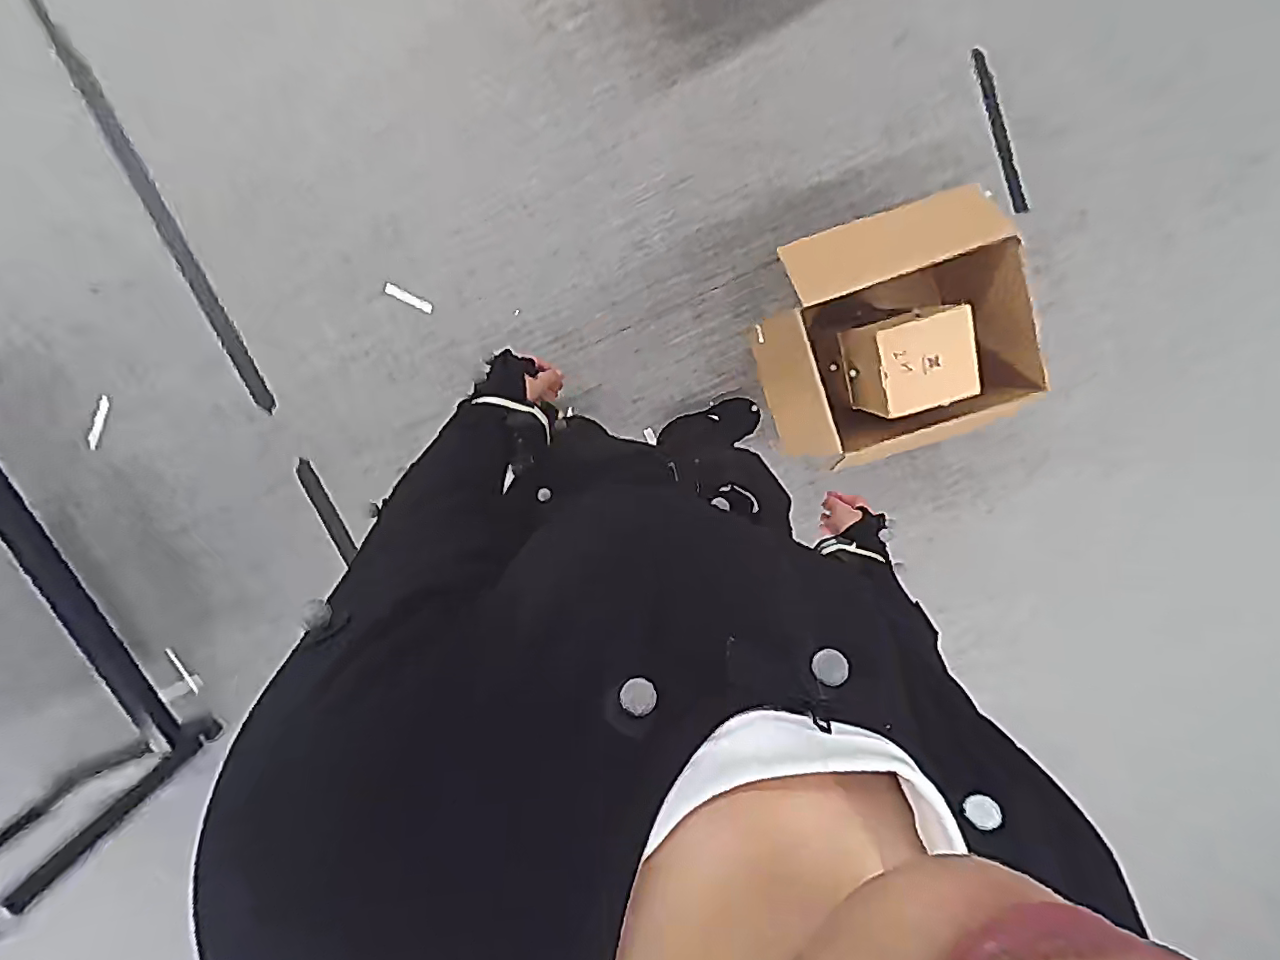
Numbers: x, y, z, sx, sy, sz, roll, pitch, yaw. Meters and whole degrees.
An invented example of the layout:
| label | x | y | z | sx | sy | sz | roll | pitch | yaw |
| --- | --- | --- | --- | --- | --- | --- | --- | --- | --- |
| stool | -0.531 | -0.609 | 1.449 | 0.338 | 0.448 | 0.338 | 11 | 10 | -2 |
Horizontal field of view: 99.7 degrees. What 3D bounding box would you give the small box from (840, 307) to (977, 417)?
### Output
| label | x | y | z | sx | sy | sz | roll | pitch | yaw |
| --- | --- | --- | --- | --- | --- | --- | --- | --- | --- |
| small box | 0.524 | -0.236 | 1.070 | 0.179 | 0.176 | 0.168 | -16 | 105 | 2 |
